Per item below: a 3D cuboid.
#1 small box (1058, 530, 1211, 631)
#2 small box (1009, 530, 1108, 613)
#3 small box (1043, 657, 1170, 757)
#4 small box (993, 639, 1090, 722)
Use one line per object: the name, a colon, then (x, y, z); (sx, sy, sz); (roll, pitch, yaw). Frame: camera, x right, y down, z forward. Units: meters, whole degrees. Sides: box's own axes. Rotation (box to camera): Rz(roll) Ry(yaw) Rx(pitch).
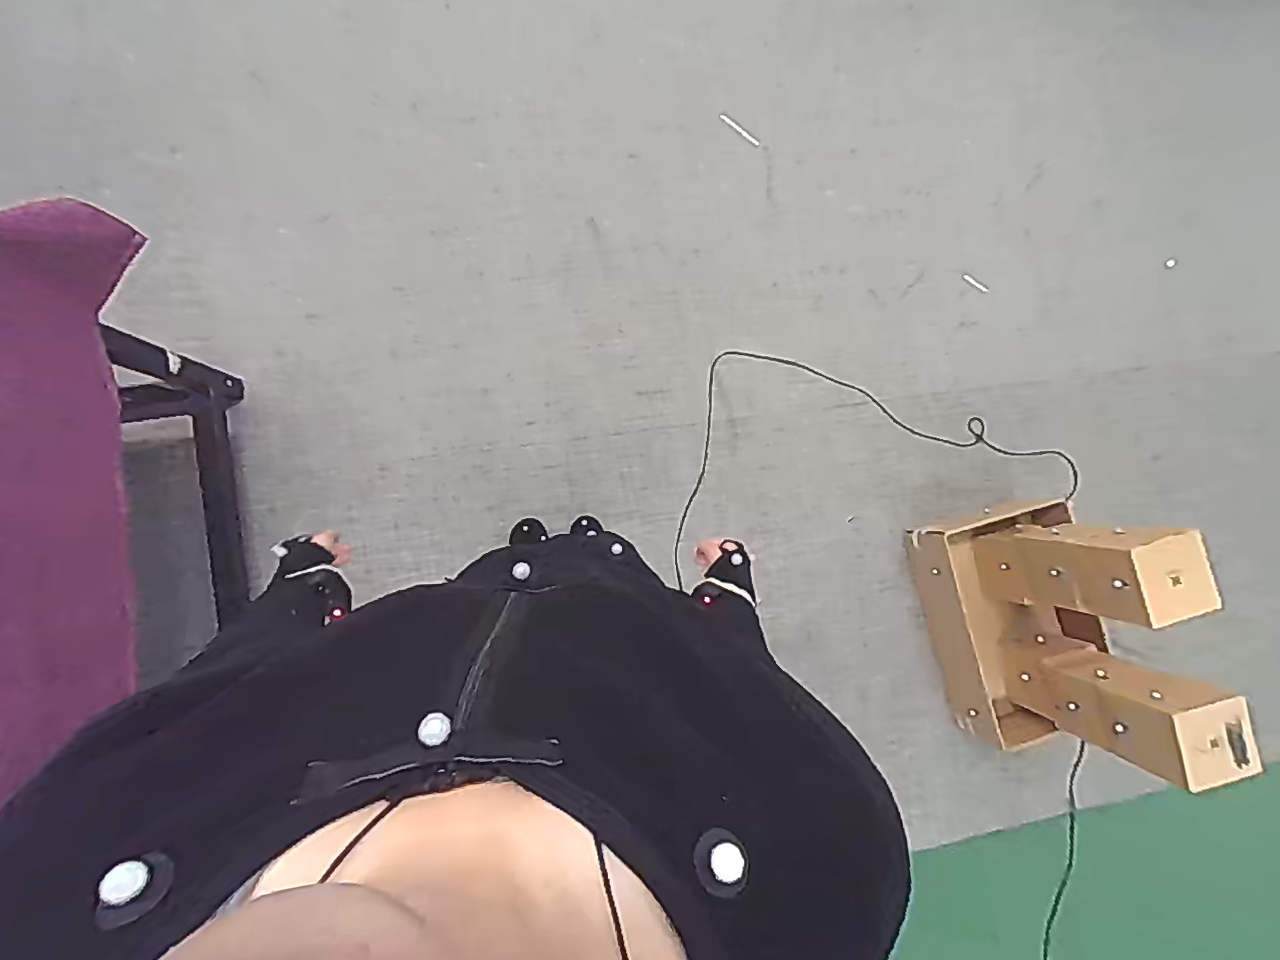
small box: (1.099, 0.217, 1.215); (0.168, 0.176, 0.179); (-16, 88, -5)
small box: (1.082, 0.224, 1.376); (0.168, 0.176, 0.179); (-11, 89, -6)
small box: (1.161, 0.564, 1.365); (0.179, 0.176, 0.168); (-11, 89, -8)
small box: (1.141, 0.559, 1.529); (0.168, 0.176, 0.179); (-11, 88, -7)
